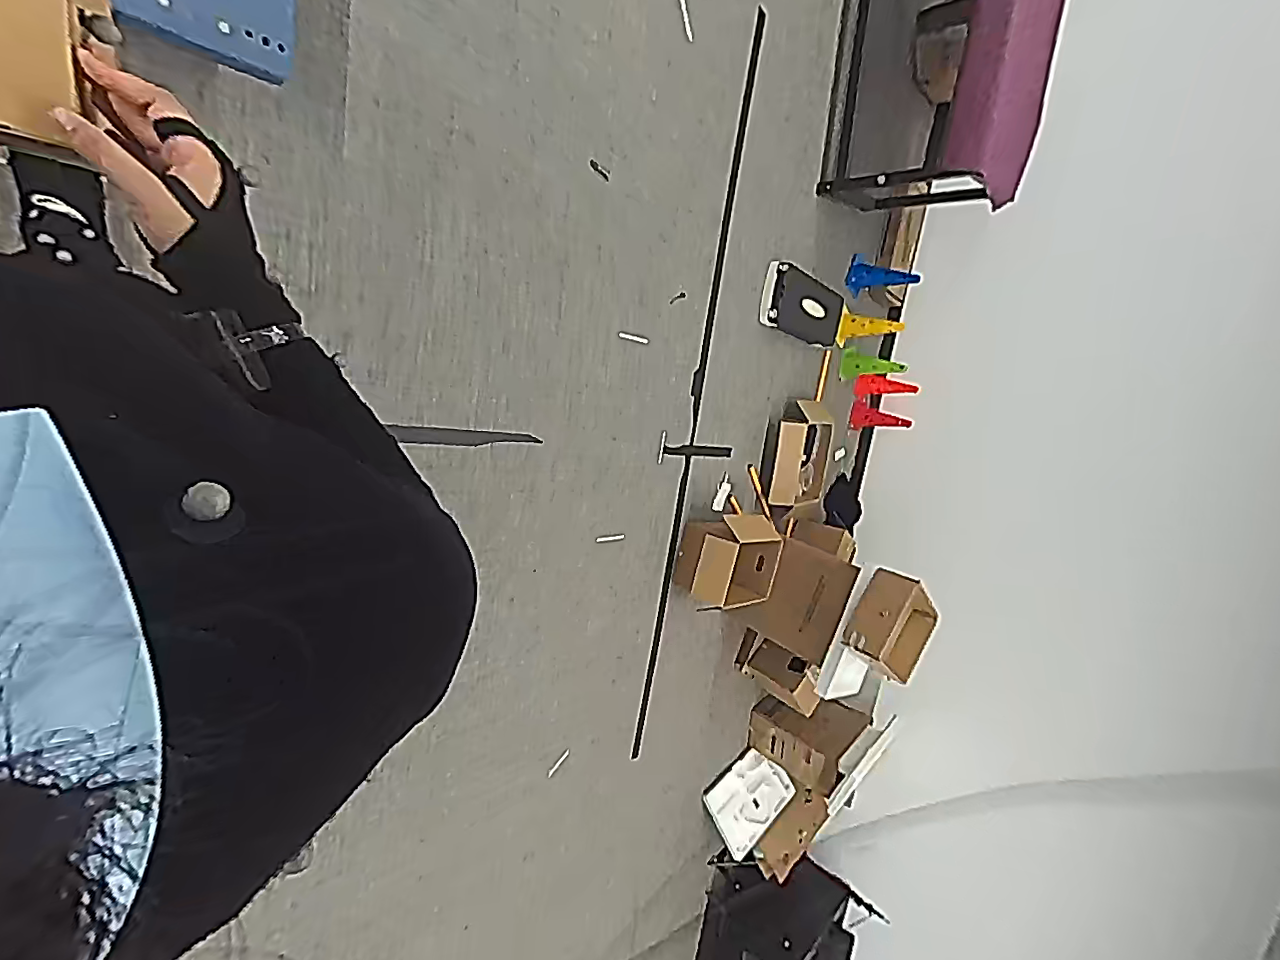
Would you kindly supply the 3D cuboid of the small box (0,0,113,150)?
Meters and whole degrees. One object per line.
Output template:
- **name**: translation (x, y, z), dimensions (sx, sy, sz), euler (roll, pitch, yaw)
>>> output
- **small box**: translation (-0.442, -0.326, 0.324), dimensions (0.168, 0.176, 0.179), euler (-1, 111, -39)
